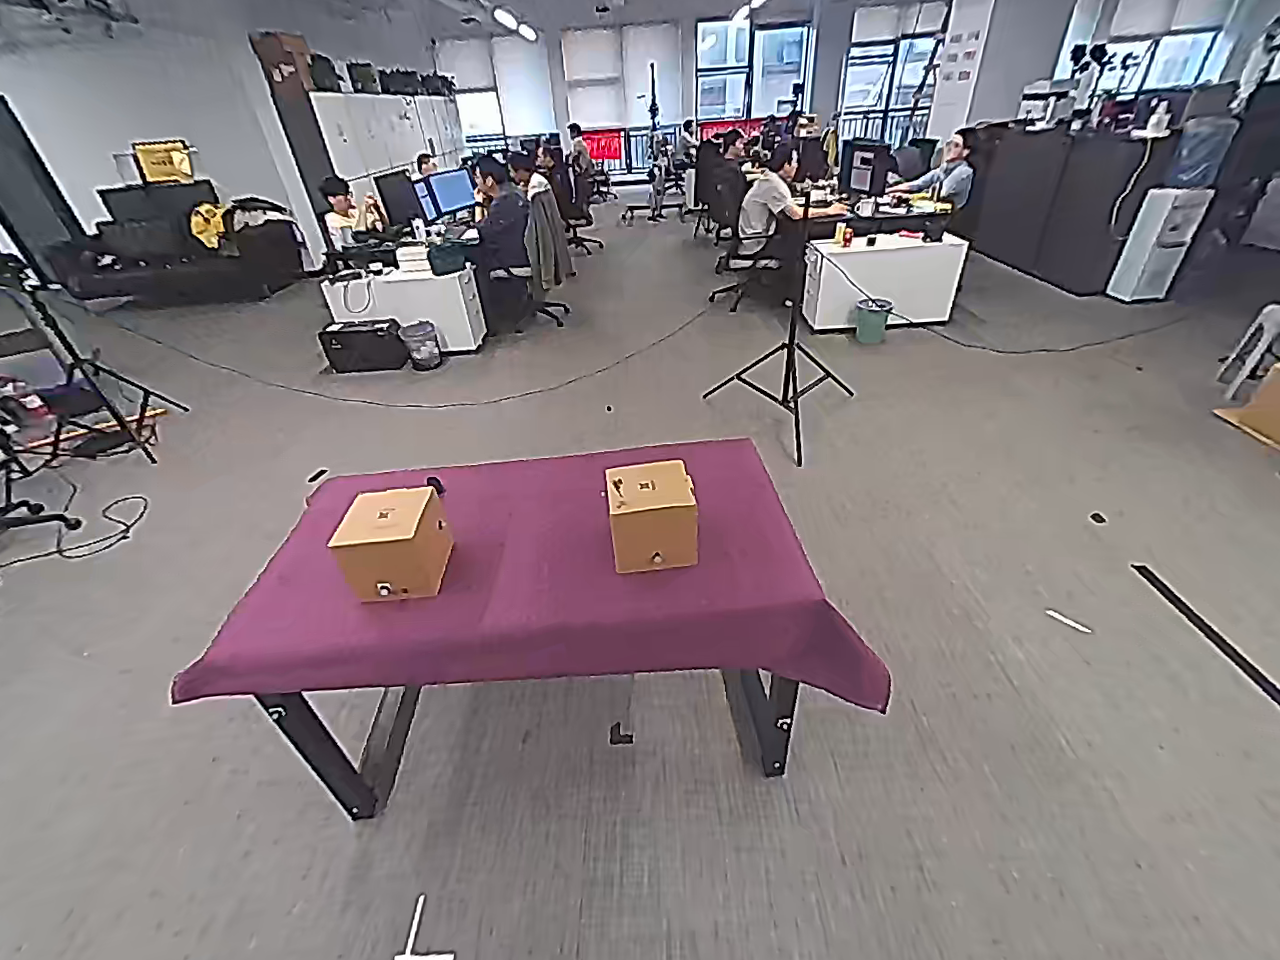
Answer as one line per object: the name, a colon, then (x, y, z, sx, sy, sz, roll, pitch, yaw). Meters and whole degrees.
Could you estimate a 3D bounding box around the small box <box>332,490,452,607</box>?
small box: (-0.514, 0.144, 1.155, 0.168, 0.176, 0.179, -7, 35, -1)

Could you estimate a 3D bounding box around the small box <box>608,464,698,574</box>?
small box: (0.025, 0.085, 1.177, 0.179, 0.176, 0.168, -6, 34, -3)
